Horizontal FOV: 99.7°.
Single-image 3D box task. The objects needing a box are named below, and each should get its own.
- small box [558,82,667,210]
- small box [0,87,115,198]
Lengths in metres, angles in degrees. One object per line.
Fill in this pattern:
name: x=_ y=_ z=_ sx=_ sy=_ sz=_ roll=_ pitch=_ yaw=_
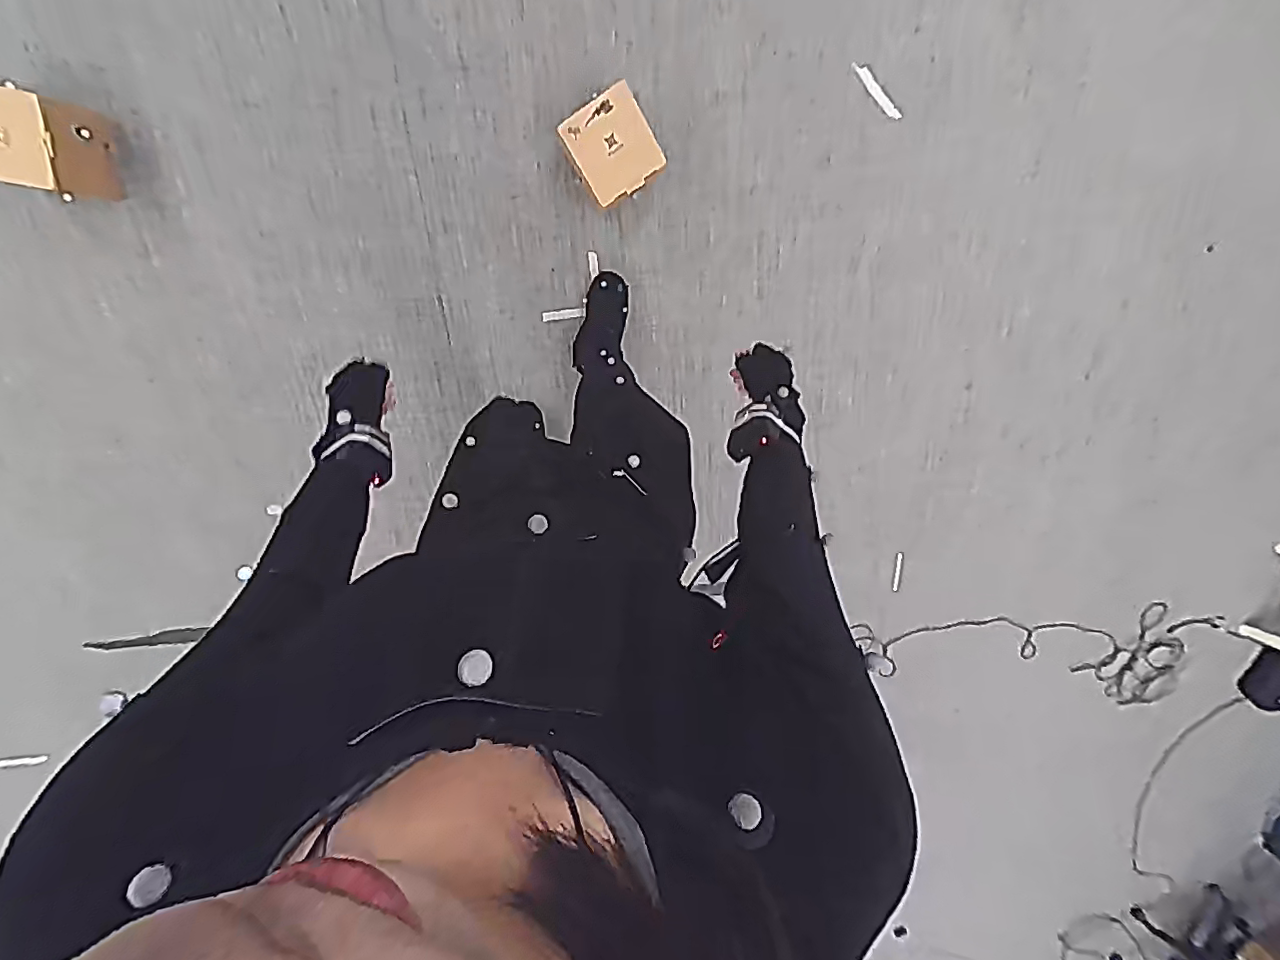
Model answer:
small box: x=-0.060 y=-0.713 z=1.181 sx=0.168 sy=0.176 sz=0.179 roll=-31 pitch=112 yaw=7
small box: x=-1.219 y=-0.681 z=1.092 sx=0.179 sy=0.176 sz=0.168 roll=7 pitch=109 yaw=-7
